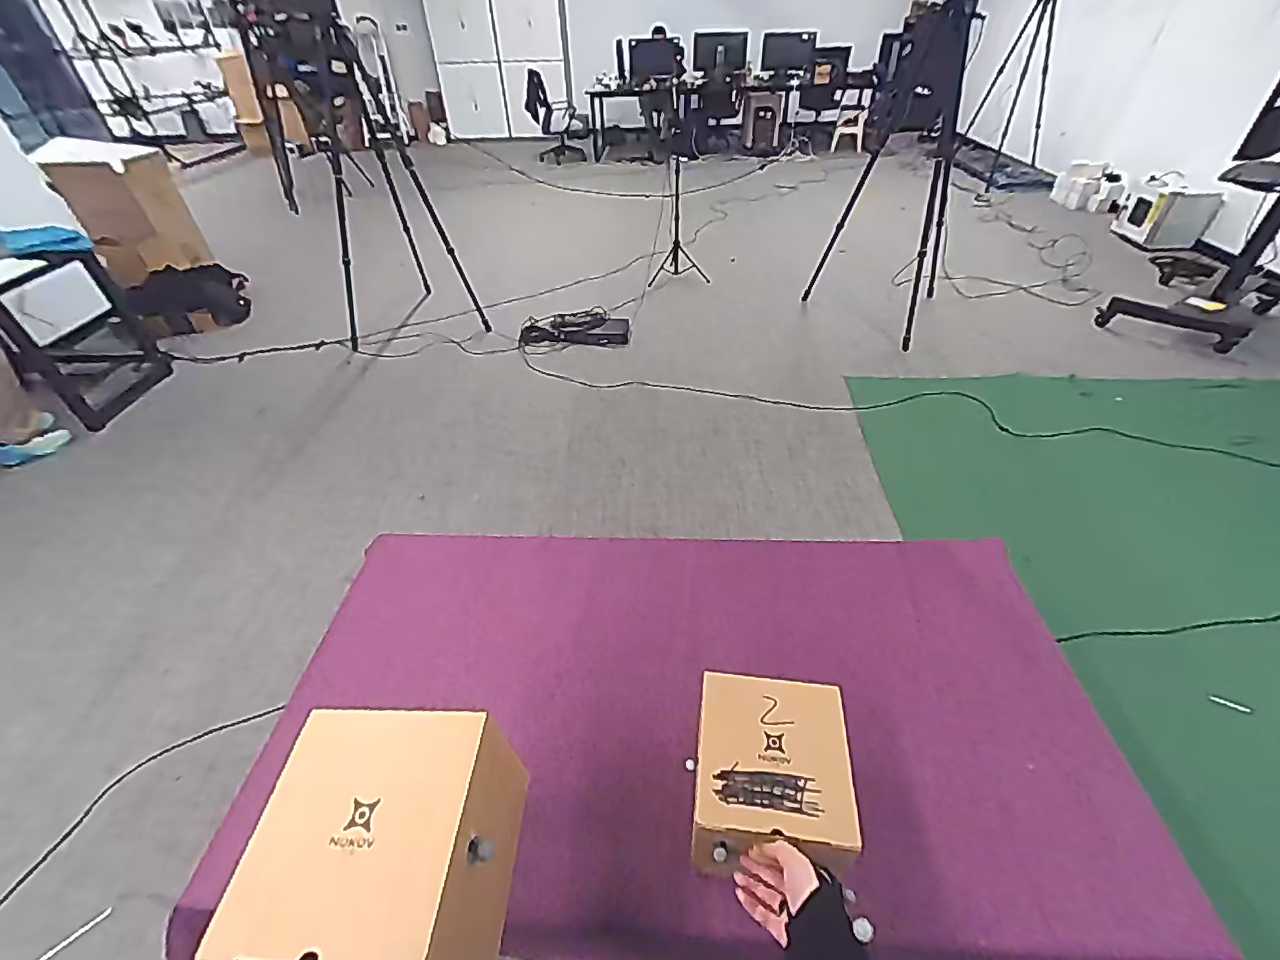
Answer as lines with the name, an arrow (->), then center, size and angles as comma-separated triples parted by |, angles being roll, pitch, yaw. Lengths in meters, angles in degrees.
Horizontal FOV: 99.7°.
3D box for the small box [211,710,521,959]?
small box -> -0.216, 0.332, 0.492 | 0.168, 0.176, 0.179 | -1, 45, 5
